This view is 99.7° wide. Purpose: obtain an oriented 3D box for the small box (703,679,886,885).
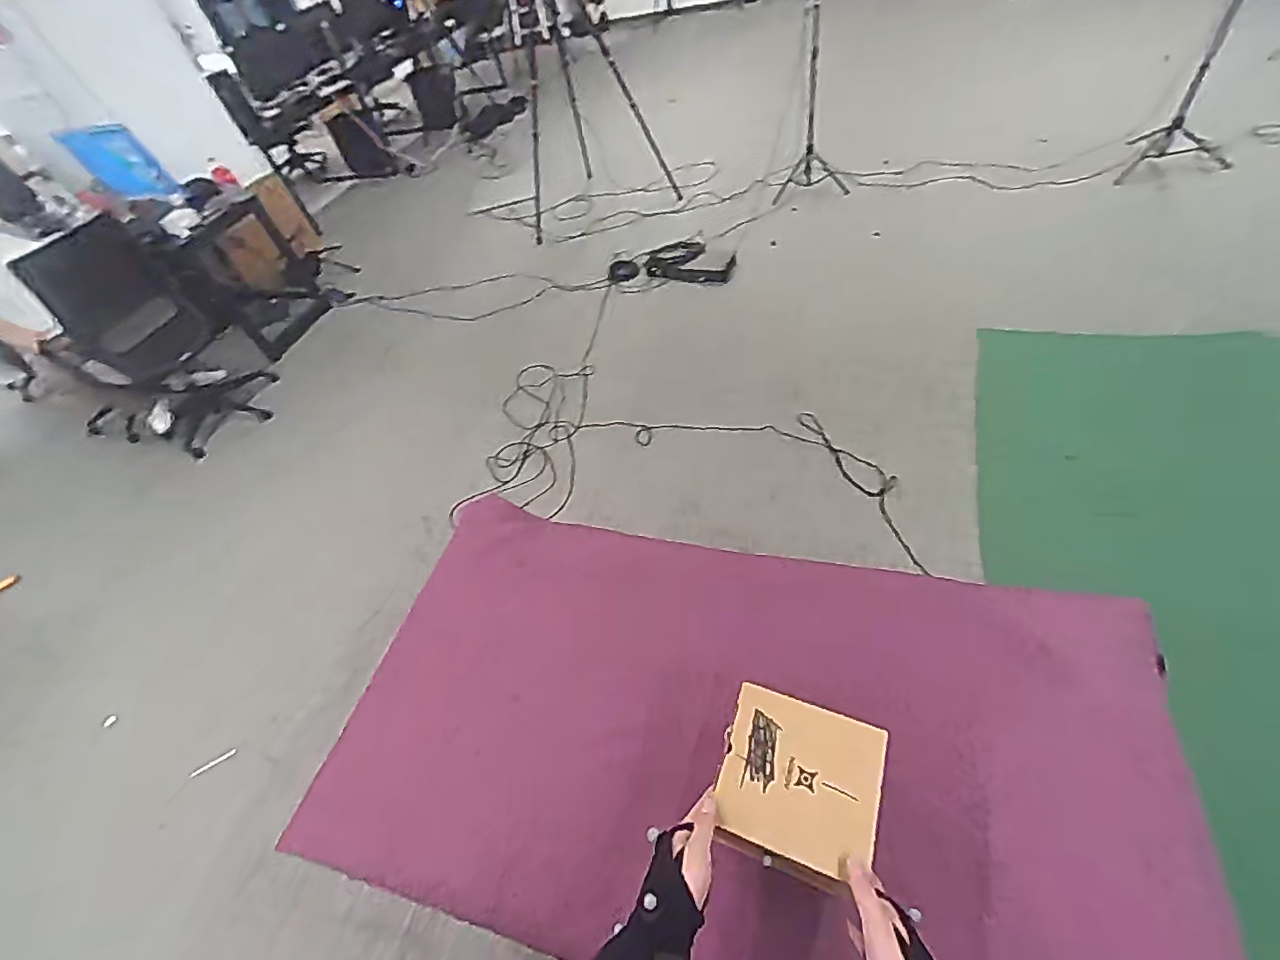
[{"bbox_3d":[0.189,0.384,0.682,0.179,0.176,0.168,14,56,19],"label":"small box"}]
